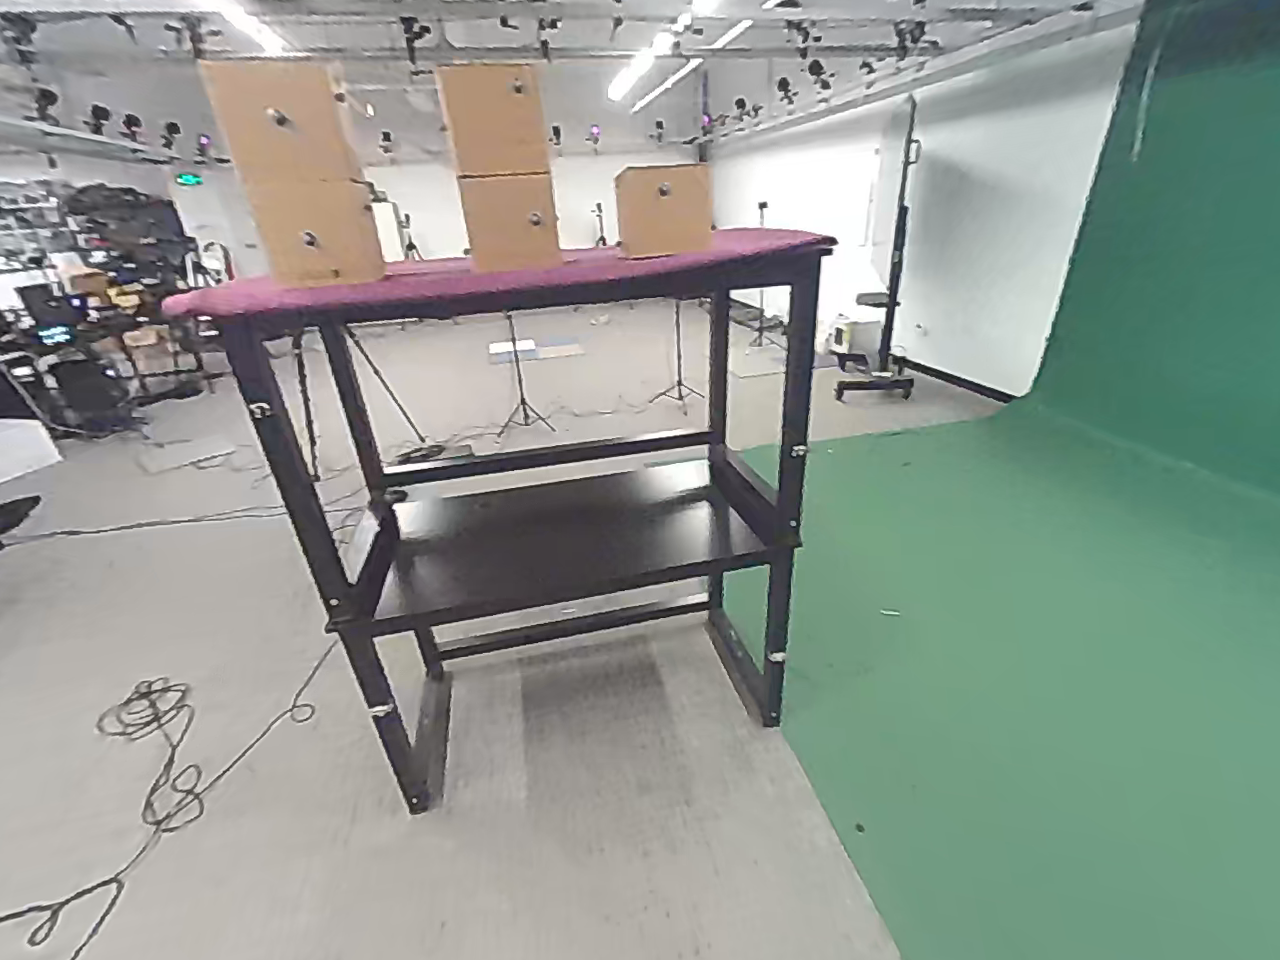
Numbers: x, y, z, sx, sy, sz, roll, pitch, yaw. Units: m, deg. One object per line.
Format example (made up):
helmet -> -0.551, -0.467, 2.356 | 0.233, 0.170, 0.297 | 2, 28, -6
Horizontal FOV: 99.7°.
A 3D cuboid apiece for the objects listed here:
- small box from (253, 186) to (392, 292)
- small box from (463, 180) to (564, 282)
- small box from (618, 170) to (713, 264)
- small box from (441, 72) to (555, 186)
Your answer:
small box -> -0.578, -0.449, 1.013 | 0.168, 0.176, 0.179 | -8, 27, -13
small box -> -0.253, -0.507, 1.104 | 0.179, 0.176, 0.168 | -10, 26, -11
small box -> 0.055, -0.568, 1.183 | 0.179, 0.176, 0.168 | -8, 24, -9
small box -> -0.268, -0.654, 1.033 | 0.179, 0.176, 0.168 | -10, 26, -13
